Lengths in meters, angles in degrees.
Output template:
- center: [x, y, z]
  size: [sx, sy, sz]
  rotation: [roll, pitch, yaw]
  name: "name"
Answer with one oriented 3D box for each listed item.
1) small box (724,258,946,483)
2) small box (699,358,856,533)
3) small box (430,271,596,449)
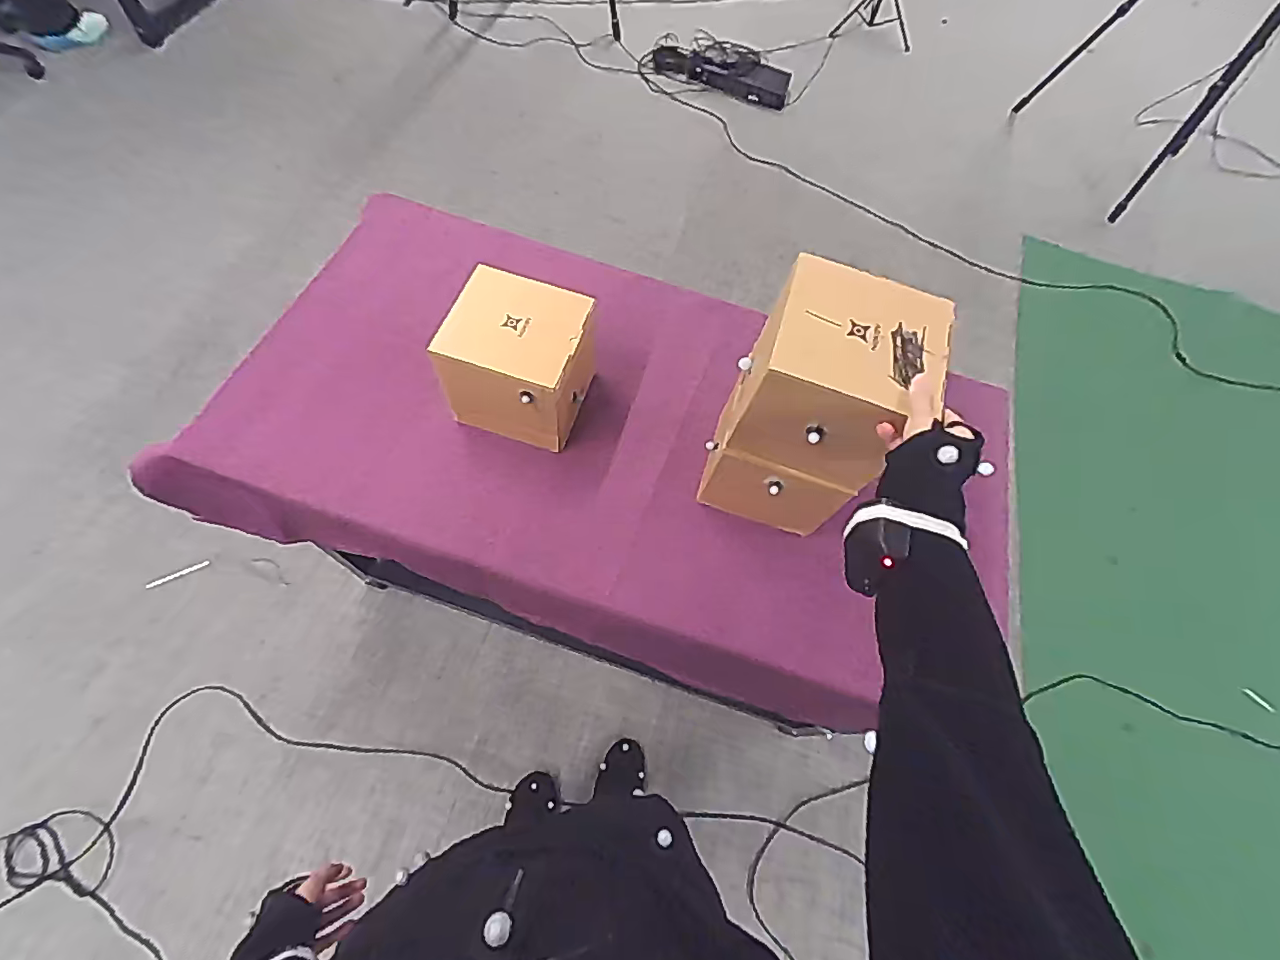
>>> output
- center: [0.215, -0.114, 0.624]
  size: [0.179, 0.176, 0.168]
  rotation: [18, 66, 2]
  name: "small box"
- center: [0.197, -0.042, 0.773]
  size: [0.179, 0.176, 0.168]
  rotation: [19, 64, 2]
  name: "small box"
- center: [-0.175, -0.168, 0.796]
  size: [0.179, 0.176, 0.168]
  rotation: [17, 63, 1]
  name: "small box"
